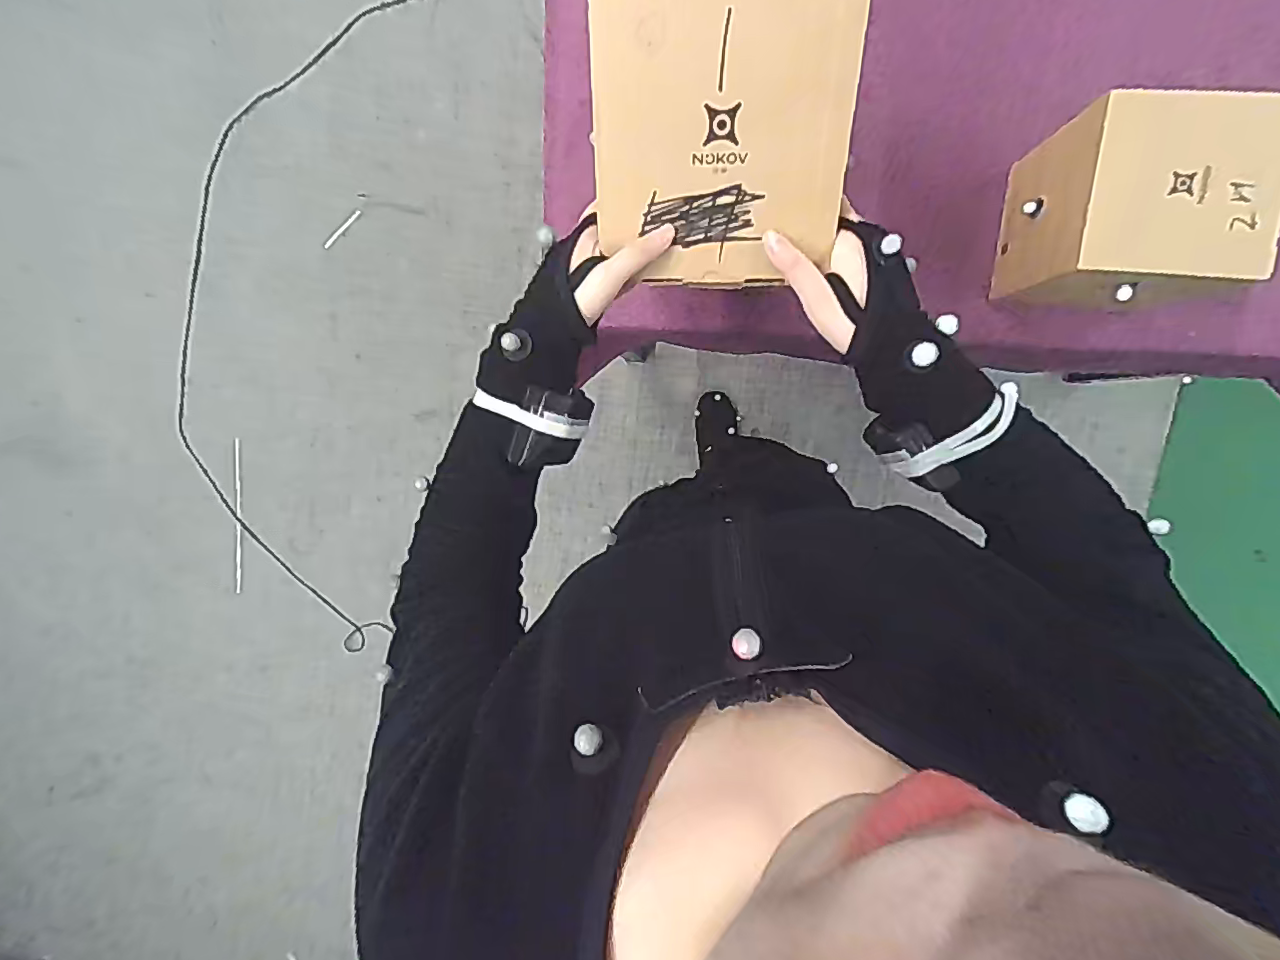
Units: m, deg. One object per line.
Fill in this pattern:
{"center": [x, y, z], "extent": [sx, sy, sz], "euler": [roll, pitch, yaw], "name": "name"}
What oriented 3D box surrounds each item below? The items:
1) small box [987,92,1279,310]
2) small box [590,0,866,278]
{"center": [0.523, -0.291, 0.597], "extent": [0.179, 0.176, 0.168], "euler": [6, 99, 5], "name": "small box"}
{"center": [0.059, -0.262, 0.421], "extent": [0.168, 0.176, 0.179], "euler": [2, 117, 5], "name": "small box"}
